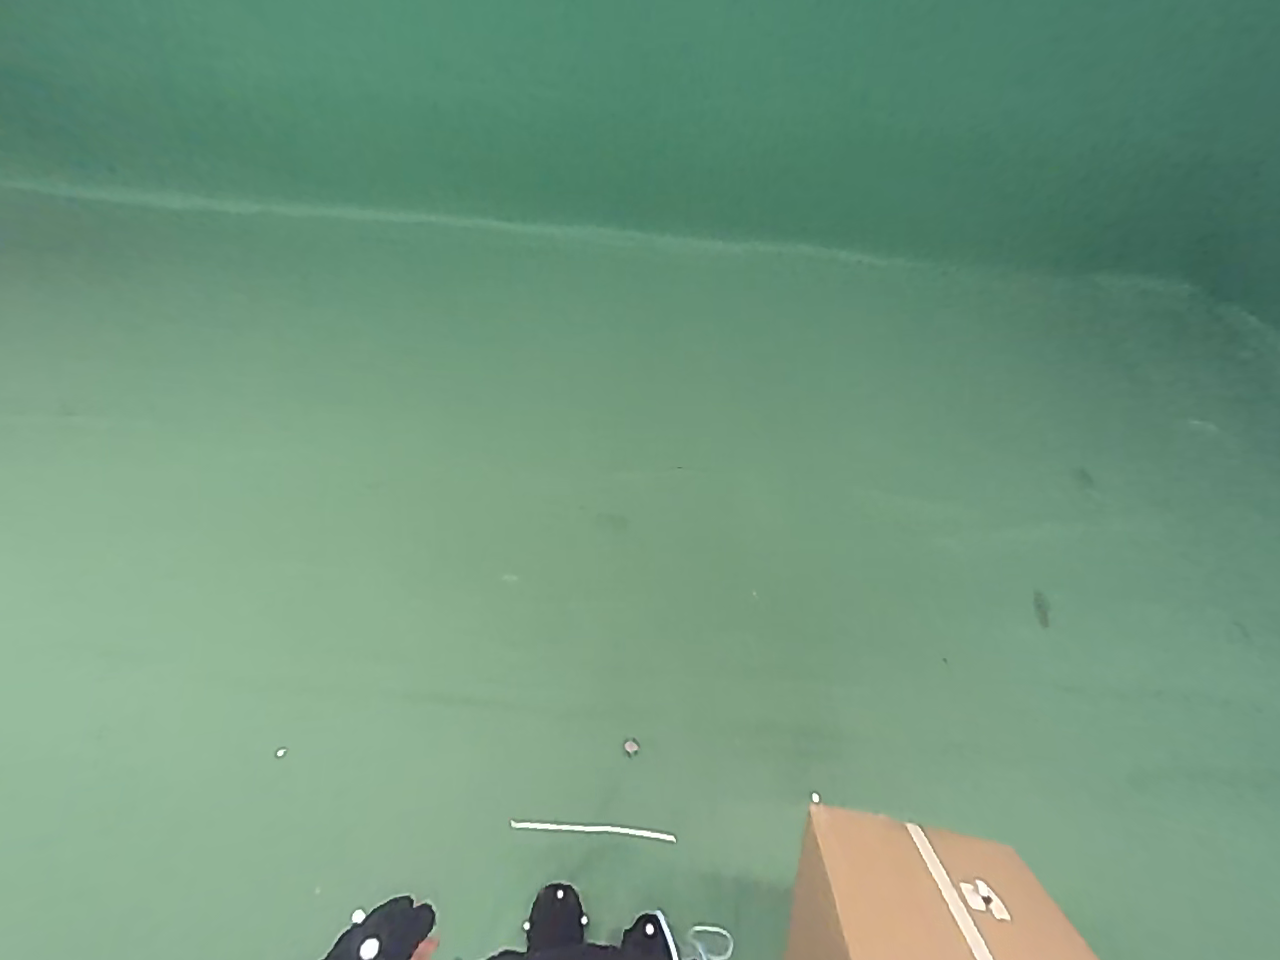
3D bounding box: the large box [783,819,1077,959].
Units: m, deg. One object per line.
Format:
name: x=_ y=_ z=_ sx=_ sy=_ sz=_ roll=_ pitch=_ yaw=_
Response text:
large box: x=0.372 y=0.725 z=0.670 sx=0.320 sy=0.408 sz=0.320 roll=10 pitch=93 yaw=7
